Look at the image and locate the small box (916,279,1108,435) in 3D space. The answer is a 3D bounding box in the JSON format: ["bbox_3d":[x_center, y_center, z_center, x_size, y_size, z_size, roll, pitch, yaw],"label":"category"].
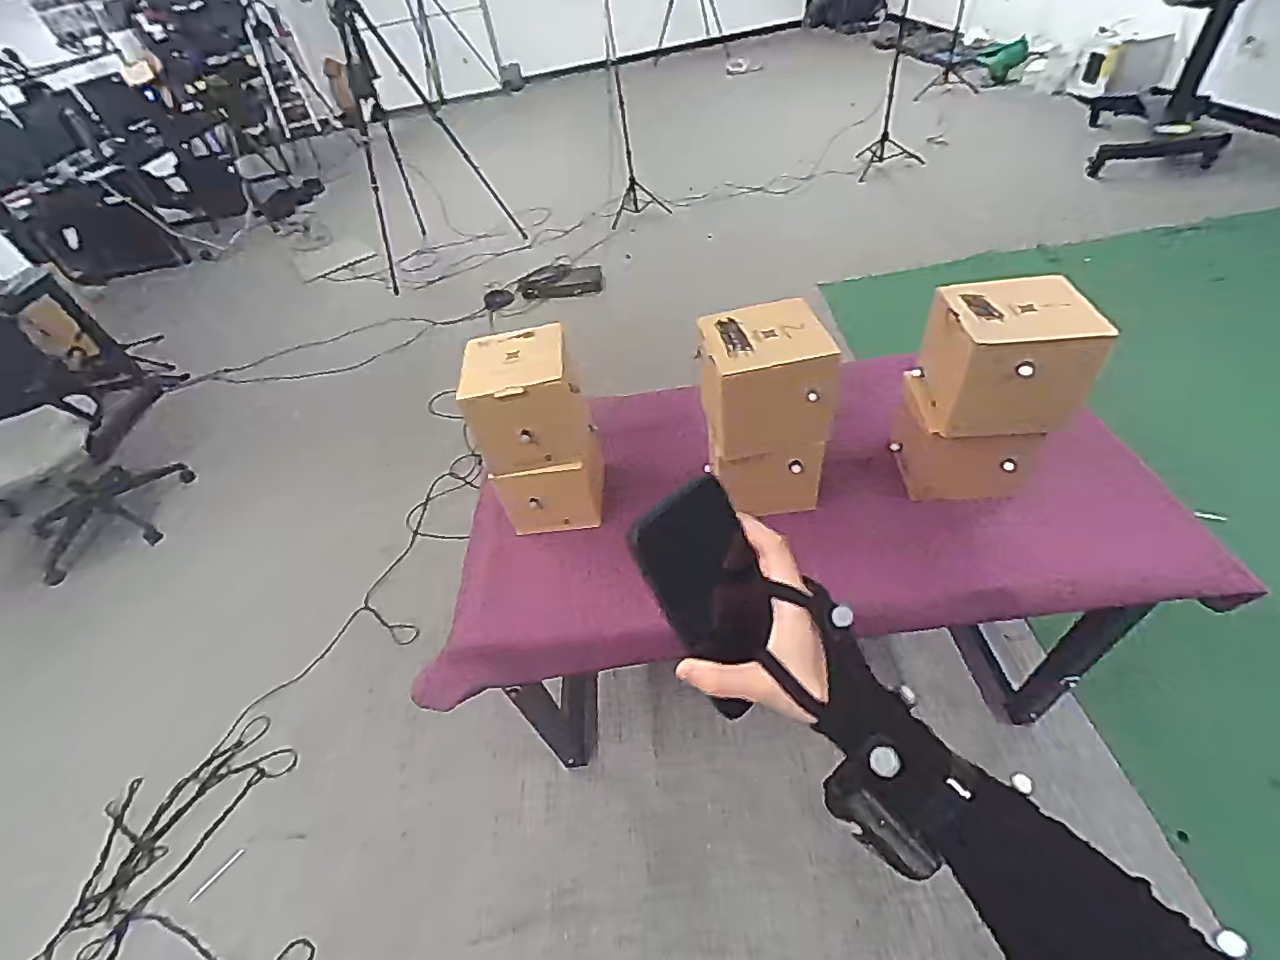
[{"bbox_3d":[0.535,-0.180,0.816,0.179,0.176,0.168,-2,46,9],"label":"small box"}]

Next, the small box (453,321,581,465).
[{"bbox_3d":[-0.198,-0.141,0.922,0.168,0.176,0.179,-9,47,2],"label":"small box"}]

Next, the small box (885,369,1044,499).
[{"bbox_3d":[0.549,-0.079,0.944,0.179,0.176,0.168,-2,46,10],"label":"small box"}]

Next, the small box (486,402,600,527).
[{"bbox_3d":[-0.174,-0.023,1.035,0.168,0.176,0.179,-6,46,6],"label":"small box"}]

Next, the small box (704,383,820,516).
[{"bbox_3d":[0.212,-0.053,0.984,0.179,0.176,0.168,-7,46,5],"label":"small box"}]
